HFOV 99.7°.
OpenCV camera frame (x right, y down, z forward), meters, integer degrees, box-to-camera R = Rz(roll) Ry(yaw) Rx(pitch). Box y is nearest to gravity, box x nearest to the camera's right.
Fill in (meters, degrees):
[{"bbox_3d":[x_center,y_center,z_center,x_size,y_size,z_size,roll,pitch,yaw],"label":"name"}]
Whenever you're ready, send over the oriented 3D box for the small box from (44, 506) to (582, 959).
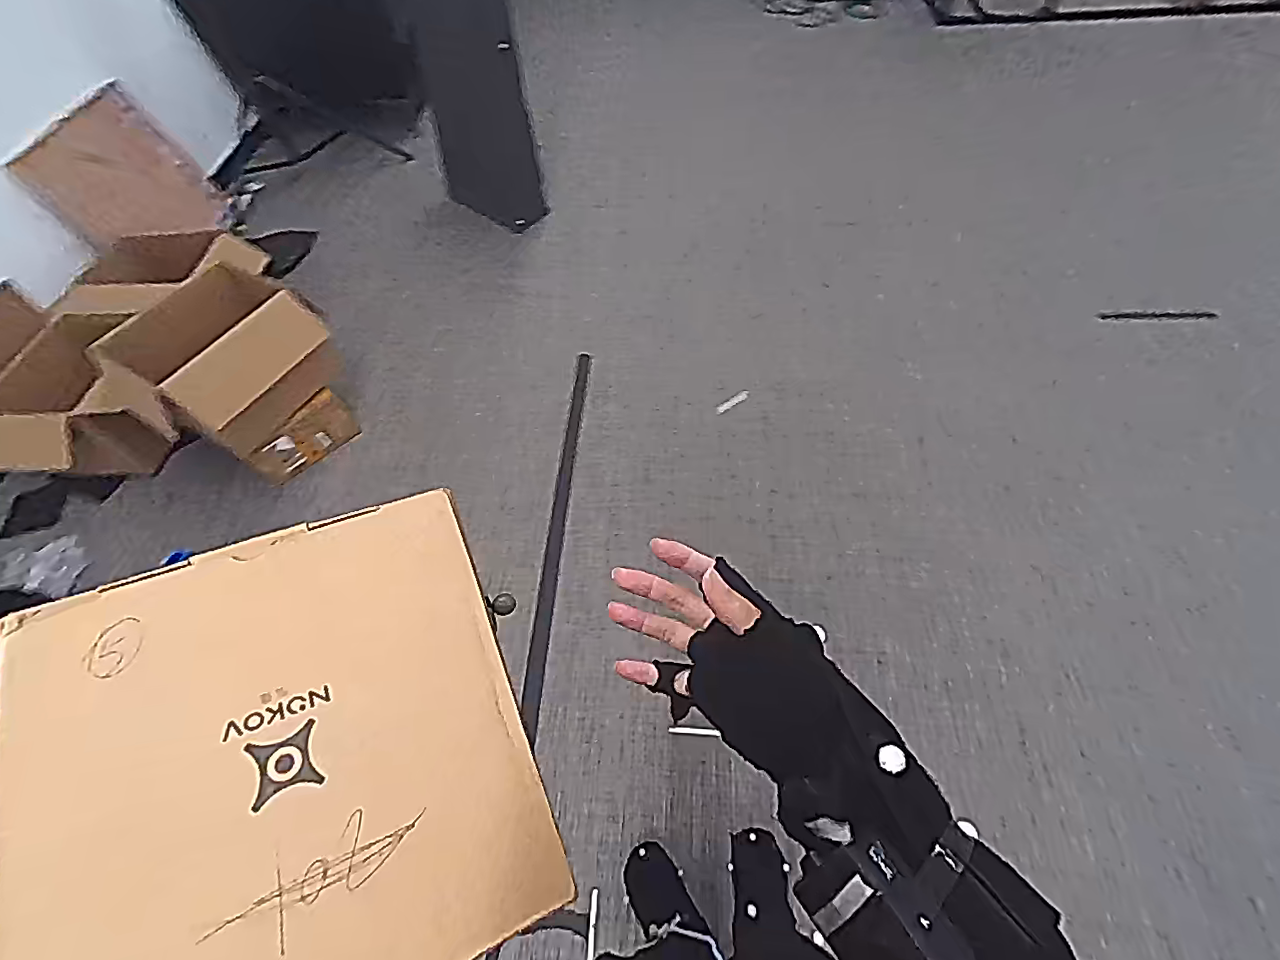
[{"bbox_3d":[-0.141,0.143,0.281,0.168,0.176,0.179,-17,67,-19],"label":"small box"}]
